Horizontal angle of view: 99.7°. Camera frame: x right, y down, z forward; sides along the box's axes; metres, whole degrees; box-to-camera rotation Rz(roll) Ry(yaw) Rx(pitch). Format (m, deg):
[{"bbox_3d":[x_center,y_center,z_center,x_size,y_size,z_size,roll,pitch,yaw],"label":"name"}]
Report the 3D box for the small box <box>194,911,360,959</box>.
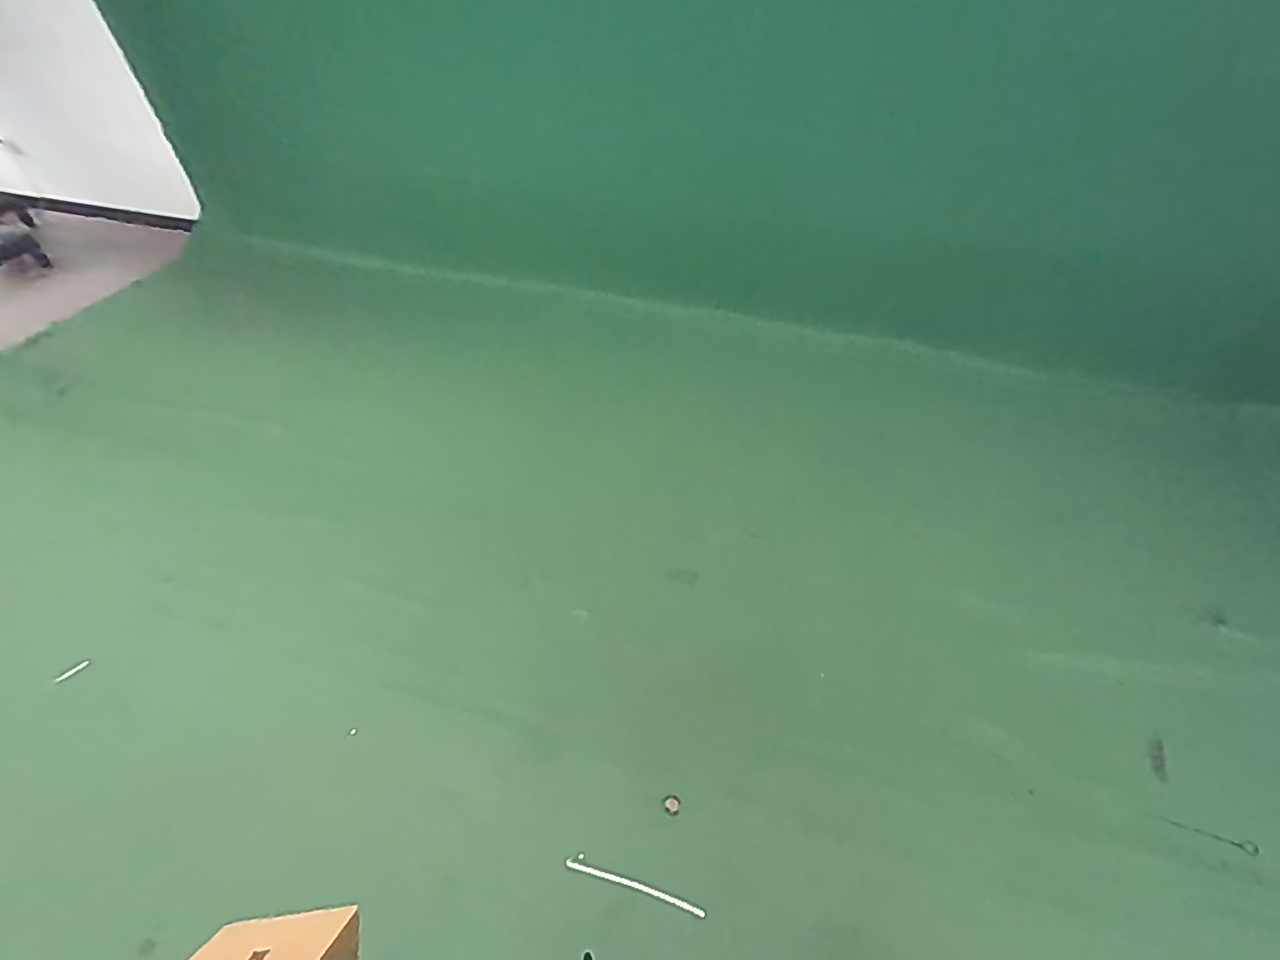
[{"bbox_3d":[-0.438,0.638,0.609,0.168,0.179,0.176,-4,79,-6],"label":"small box"}]
